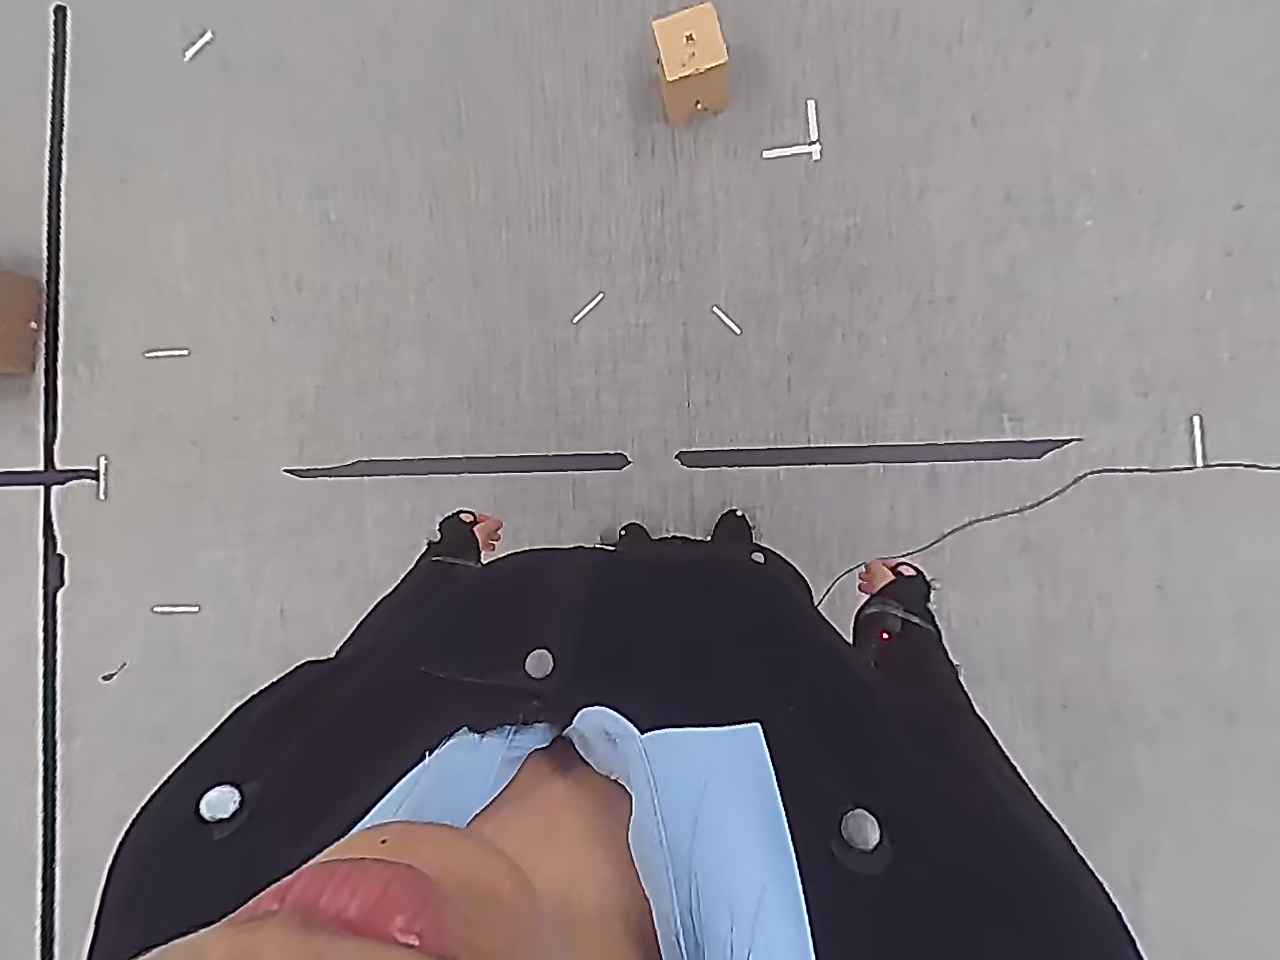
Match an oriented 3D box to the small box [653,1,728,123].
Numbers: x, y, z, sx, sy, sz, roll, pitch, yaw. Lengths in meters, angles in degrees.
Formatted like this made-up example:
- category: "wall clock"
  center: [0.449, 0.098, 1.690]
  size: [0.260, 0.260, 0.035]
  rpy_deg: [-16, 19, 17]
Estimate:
- category: "small box"
  center: [0.136, -1.127, 1.470]
  size: [0.168, 0.176, 0.179]
  rpy_deg: [-14, 86, 6]
